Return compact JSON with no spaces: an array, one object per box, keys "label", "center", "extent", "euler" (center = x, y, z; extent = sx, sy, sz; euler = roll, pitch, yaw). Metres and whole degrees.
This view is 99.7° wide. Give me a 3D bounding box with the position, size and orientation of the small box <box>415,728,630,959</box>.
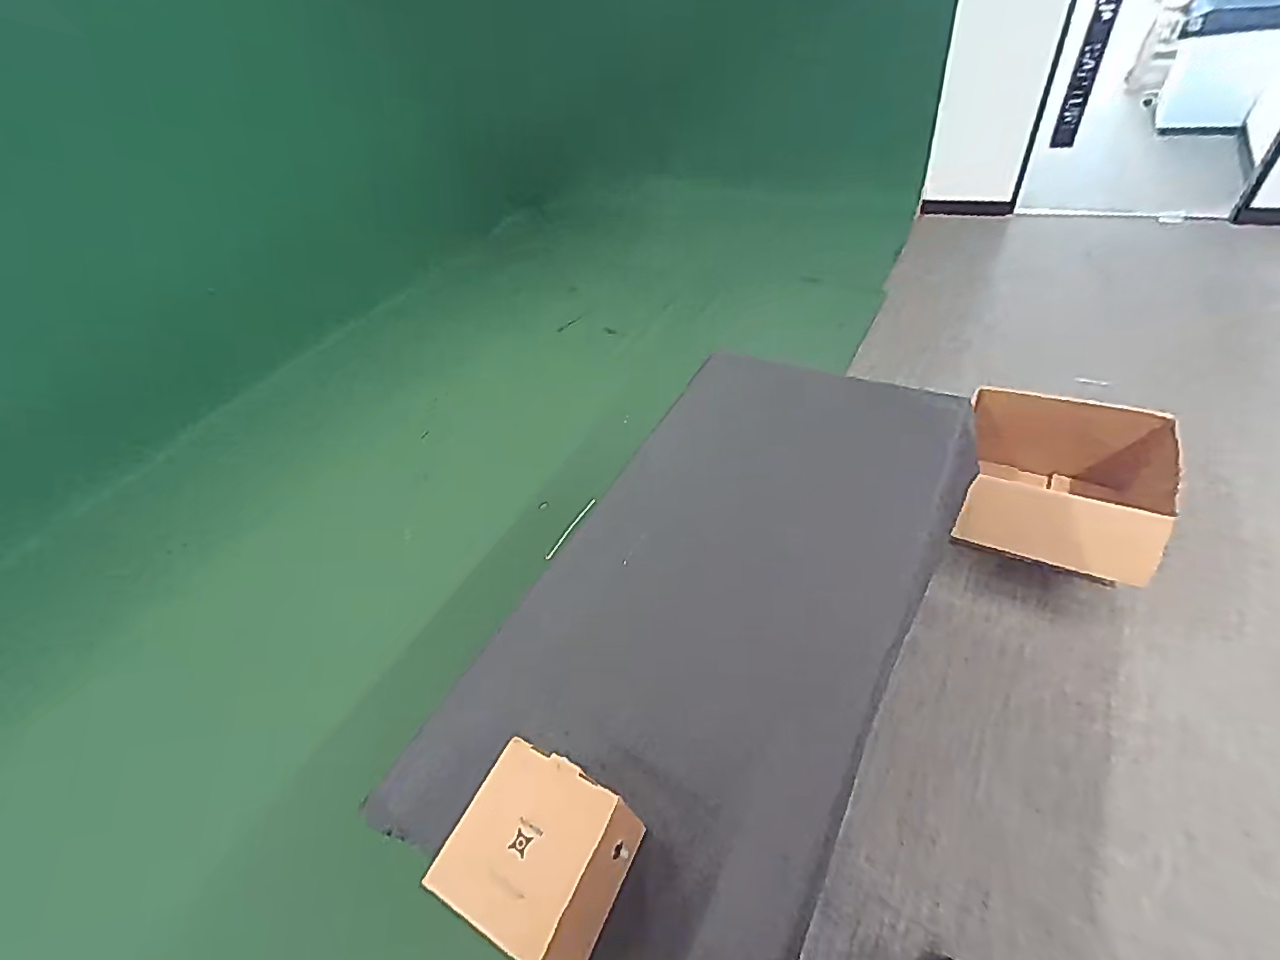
[{"label":"small box","center":[-0.125,0.444,0.658],"extent":[0.168,0.176,0.179],"euler":[15,53,26]}]
